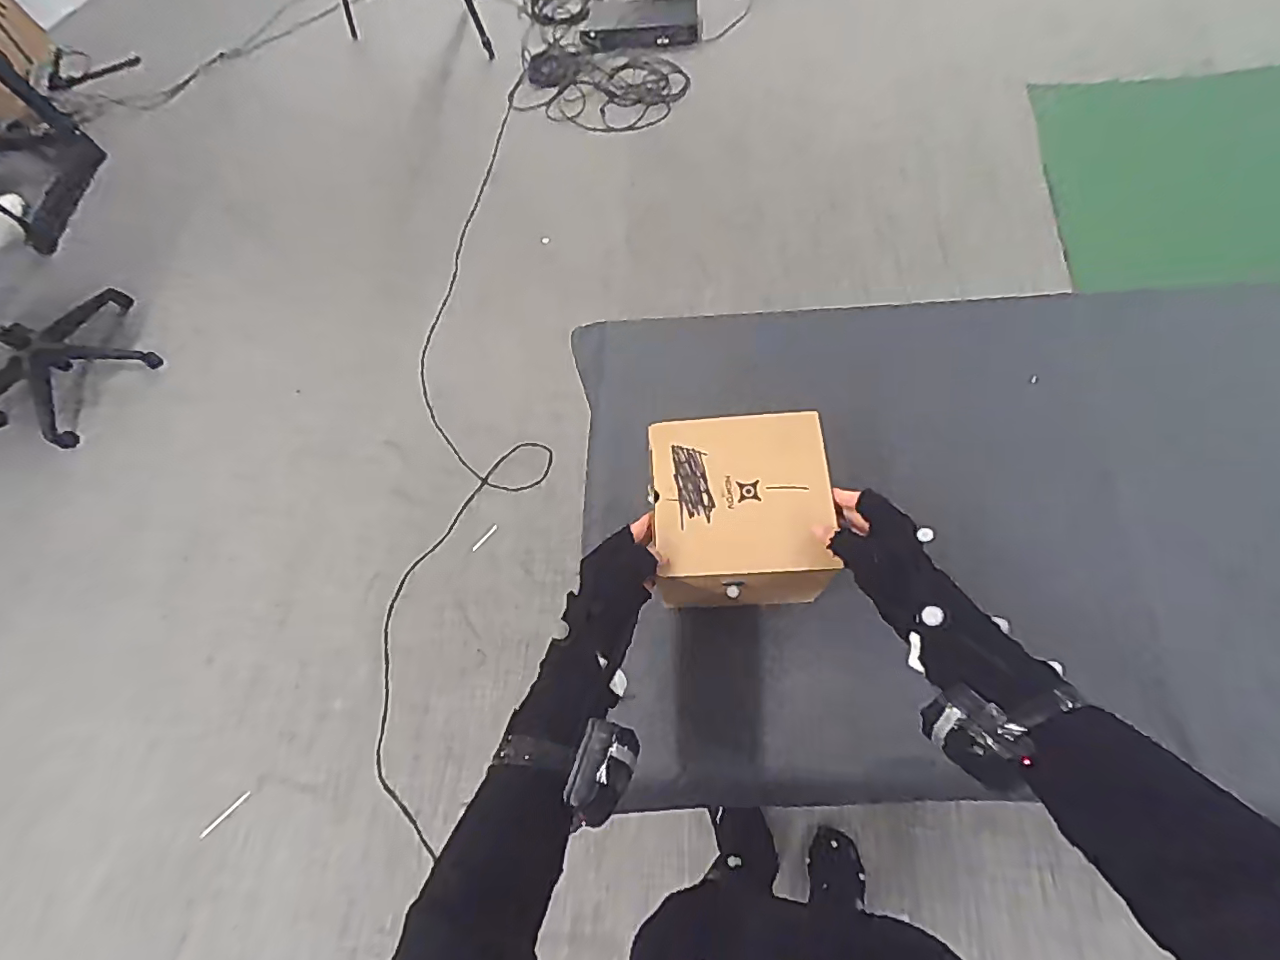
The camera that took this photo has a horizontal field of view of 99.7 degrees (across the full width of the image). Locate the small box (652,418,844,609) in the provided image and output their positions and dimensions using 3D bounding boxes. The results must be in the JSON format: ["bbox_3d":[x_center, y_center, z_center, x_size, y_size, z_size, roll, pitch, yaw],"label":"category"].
[{"bbox_3d":[0.110,0.047,0.606,0.179,0.176,0.168,-4,67,5],"label":"small box"}]
